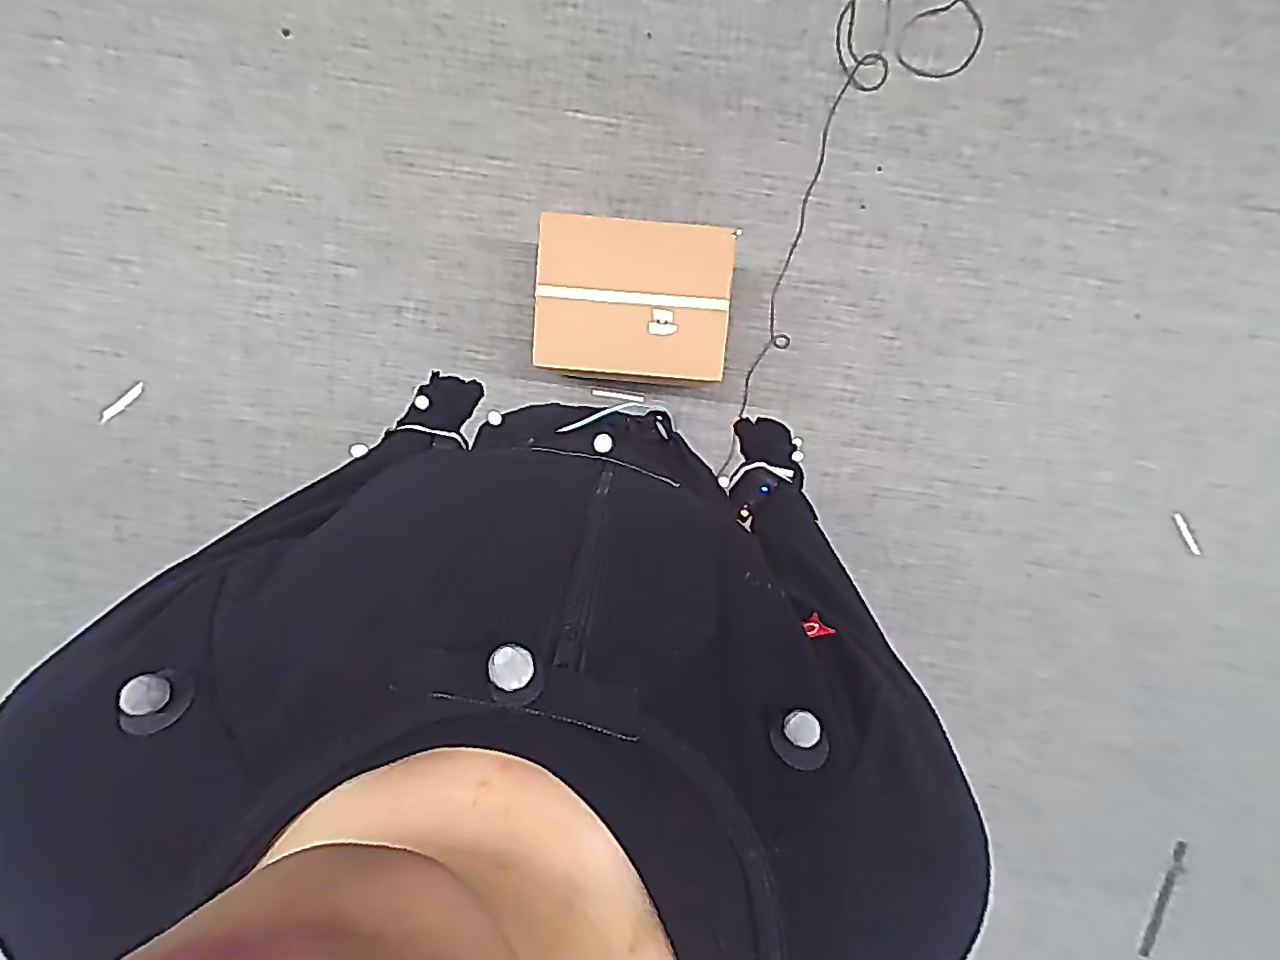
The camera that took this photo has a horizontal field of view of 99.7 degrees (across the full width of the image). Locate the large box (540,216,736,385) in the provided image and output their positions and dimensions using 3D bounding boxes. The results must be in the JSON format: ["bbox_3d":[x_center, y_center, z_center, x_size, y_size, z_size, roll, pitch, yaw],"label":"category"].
[{"bbox_3d":[-0.011,-0.399,1.283,0.408,0.320,0.320,4,98,-1],"label":"large box"}]
